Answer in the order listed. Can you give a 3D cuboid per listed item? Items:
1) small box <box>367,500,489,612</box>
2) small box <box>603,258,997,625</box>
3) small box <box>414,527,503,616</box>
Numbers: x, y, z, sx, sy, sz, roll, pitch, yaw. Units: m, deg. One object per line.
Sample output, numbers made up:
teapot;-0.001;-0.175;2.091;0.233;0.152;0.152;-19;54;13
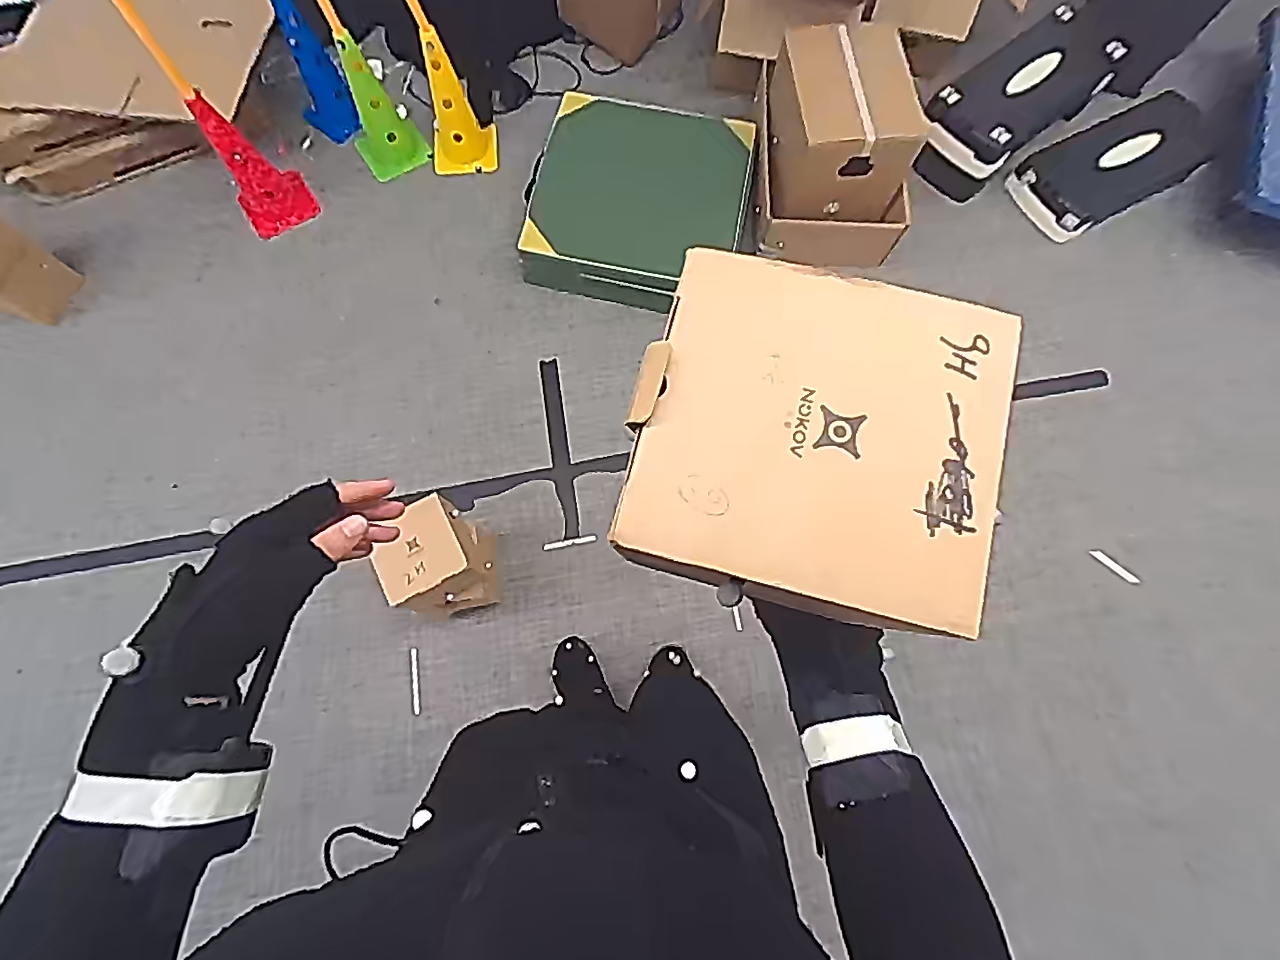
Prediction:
small box;-0.442;0.168;1.147;0.168;0.176;0.179;-24;77;-6
small box;0.086;-0.009;0.346;0.179;0.176;0.168;12;78;4
small box;-0.437;0.226;1.302;0.168;0.176;0.179;-11;73;-4
